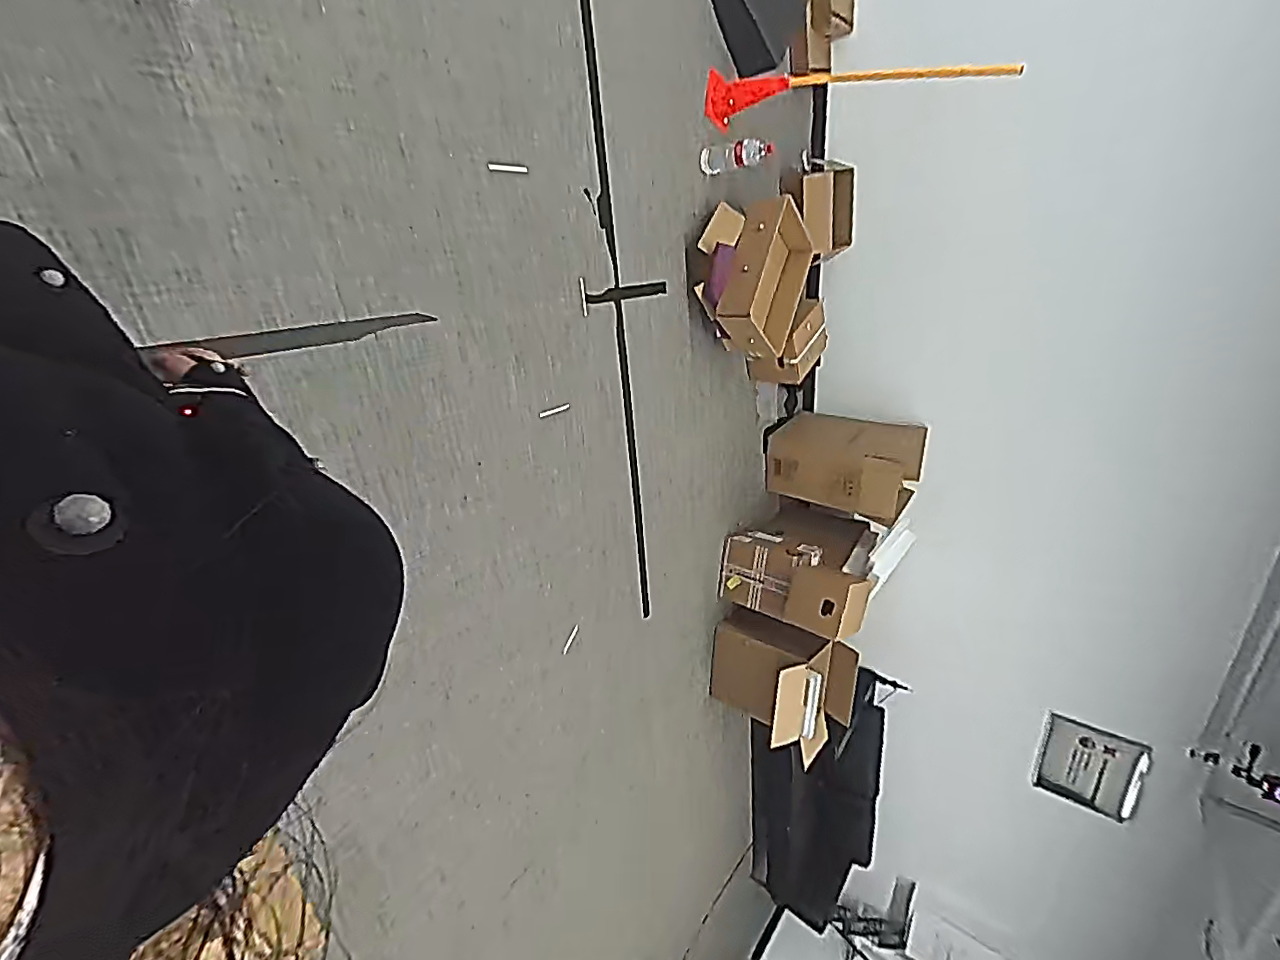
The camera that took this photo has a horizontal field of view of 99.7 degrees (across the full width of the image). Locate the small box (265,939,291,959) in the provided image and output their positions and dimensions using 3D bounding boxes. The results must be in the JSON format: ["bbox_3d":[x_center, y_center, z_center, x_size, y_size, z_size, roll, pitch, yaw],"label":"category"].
[{"bbox_3d":[-1.032,1.407,1.466,0.168,0.176,0.179,-37,128,-41],"label":"small box"}]

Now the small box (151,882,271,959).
[{"bbox_3d":[-1.067,1.154,1.344,0.168,0.176,0.179,-32,125,-43],"label":"small box"}]
